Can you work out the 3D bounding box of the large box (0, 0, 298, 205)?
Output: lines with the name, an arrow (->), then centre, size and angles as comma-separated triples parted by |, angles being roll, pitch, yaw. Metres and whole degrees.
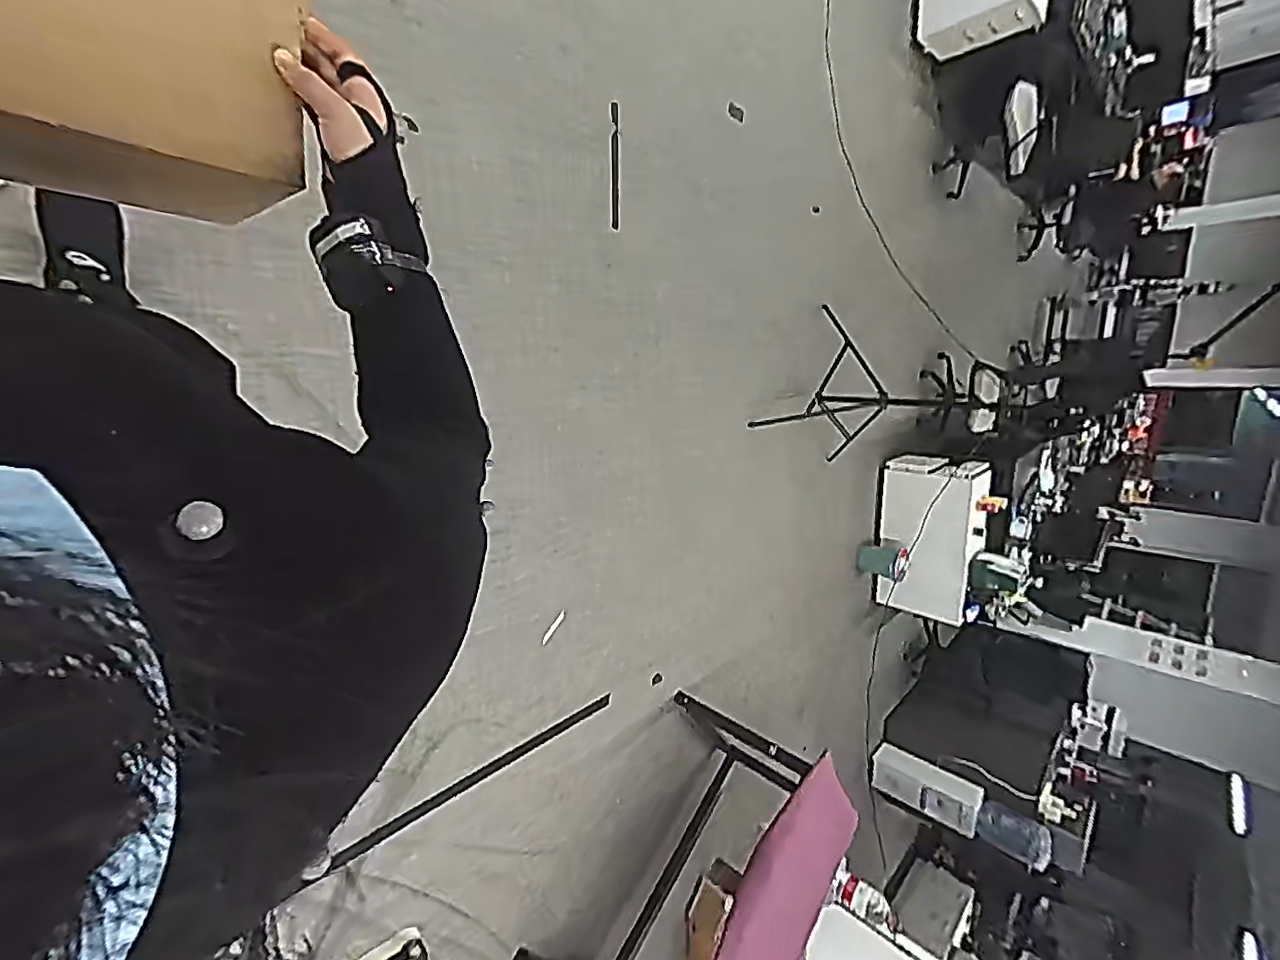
large box -> -0.517, -0.420, 0.383 | 0.408, 0.320, 0.320 | -7, 107, -44
